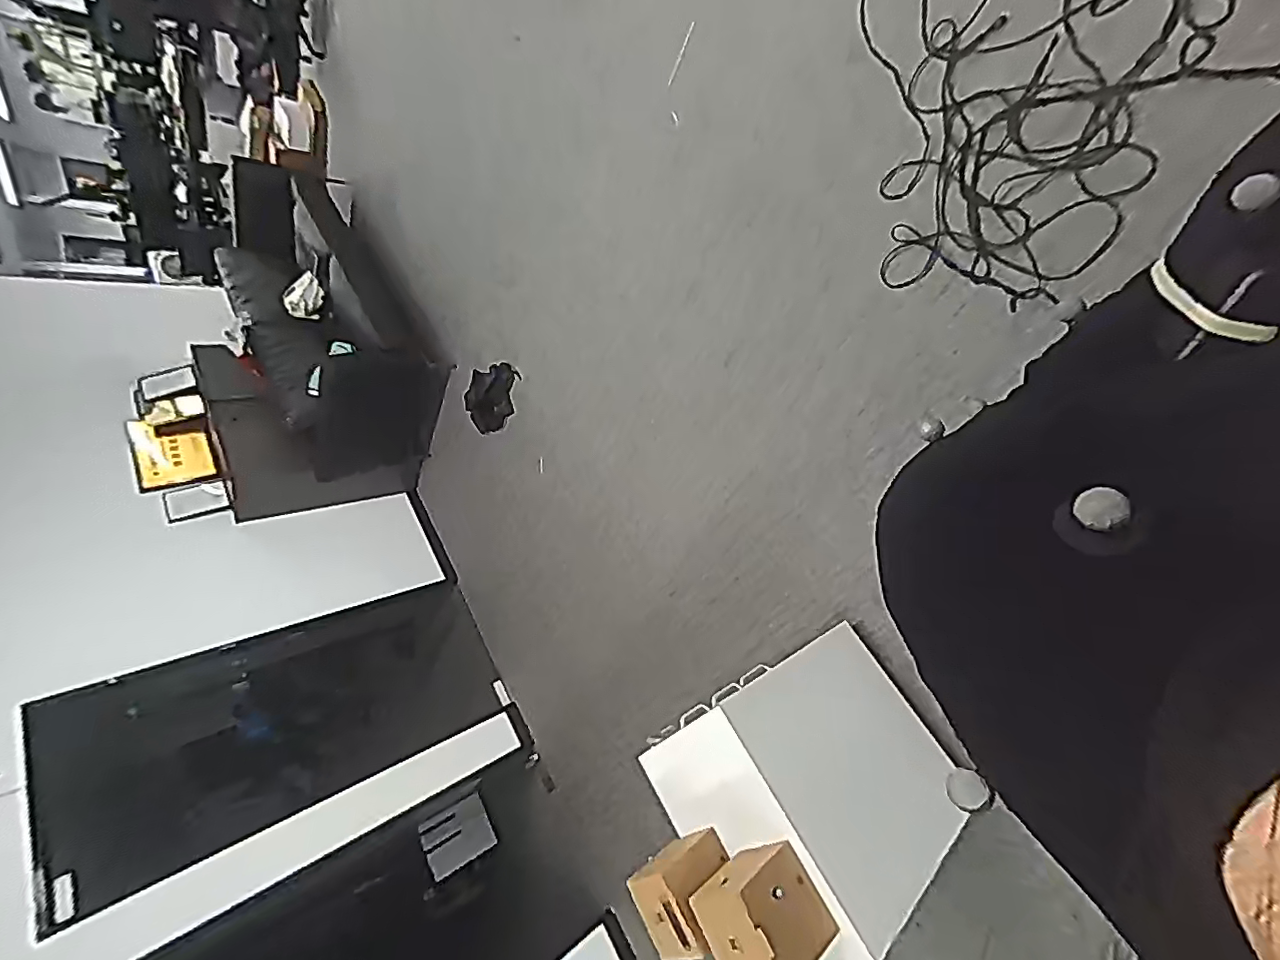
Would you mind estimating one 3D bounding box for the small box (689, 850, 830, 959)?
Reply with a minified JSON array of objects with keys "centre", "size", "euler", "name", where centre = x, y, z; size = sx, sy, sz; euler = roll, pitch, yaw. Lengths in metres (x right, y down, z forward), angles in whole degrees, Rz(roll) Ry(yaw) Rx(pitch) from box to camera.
[{"centre":[0.233,0.842,1.031],"size":[0.168,0.176,0.179],"euler":[59,137,23],"name":"small box"}]
